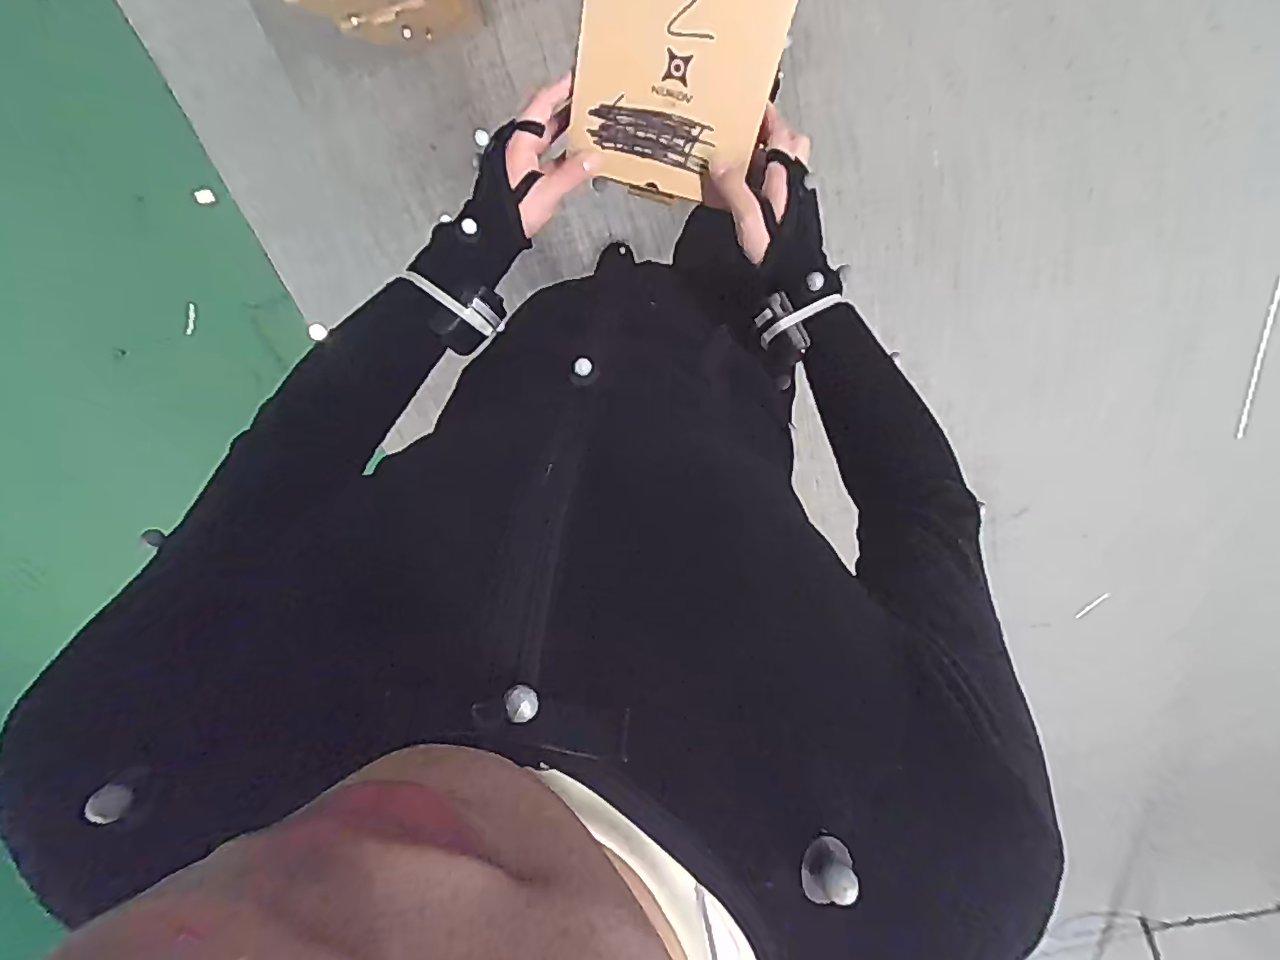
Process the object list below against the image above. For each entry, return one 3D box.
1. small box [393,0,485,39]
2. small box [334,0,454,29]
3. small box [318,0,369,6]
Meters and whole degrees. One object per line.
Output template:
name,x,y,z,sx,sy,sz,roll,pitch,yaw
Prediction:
small box,-0.437,-1.012,1.081,0.179,0.176,0.168,-7,122,8
small box,-0.451,-0.920,0.946,0.168,0.176,0.179,-8,123,9
small box,-0.454,-0.840,0.802,0.168,0.176,0.179,-9,121,10
